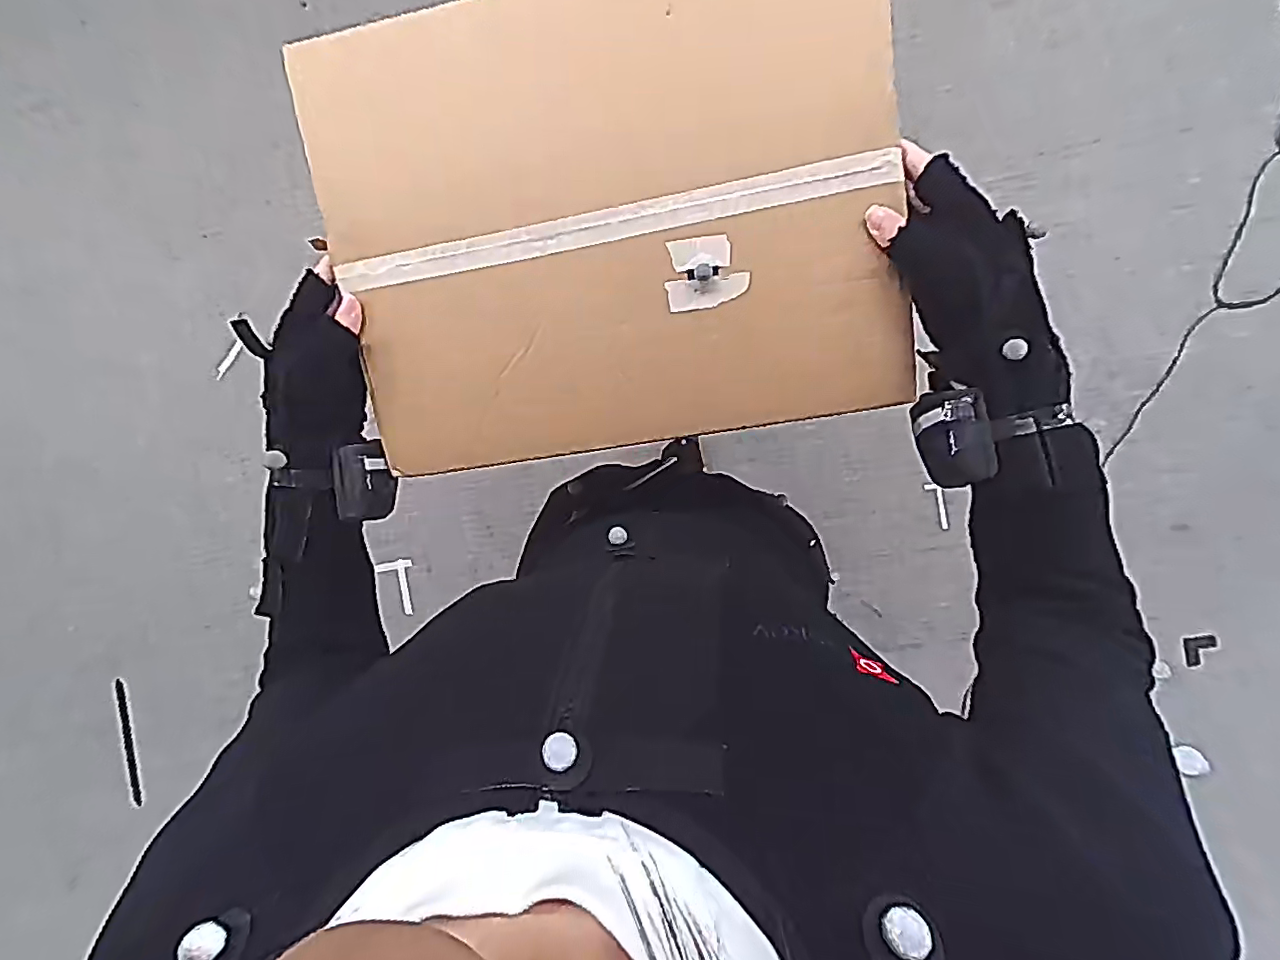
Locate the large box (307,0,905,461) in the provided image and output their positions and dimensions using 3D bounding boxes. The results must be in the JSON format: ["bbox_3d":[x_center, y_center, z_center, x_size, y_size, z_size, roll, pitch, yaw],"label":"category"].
[{"bbox_3d":[-0.013,-0.223,0.540,0.408,0.320,0.320,-8,102,6],"label":"large box"}]
